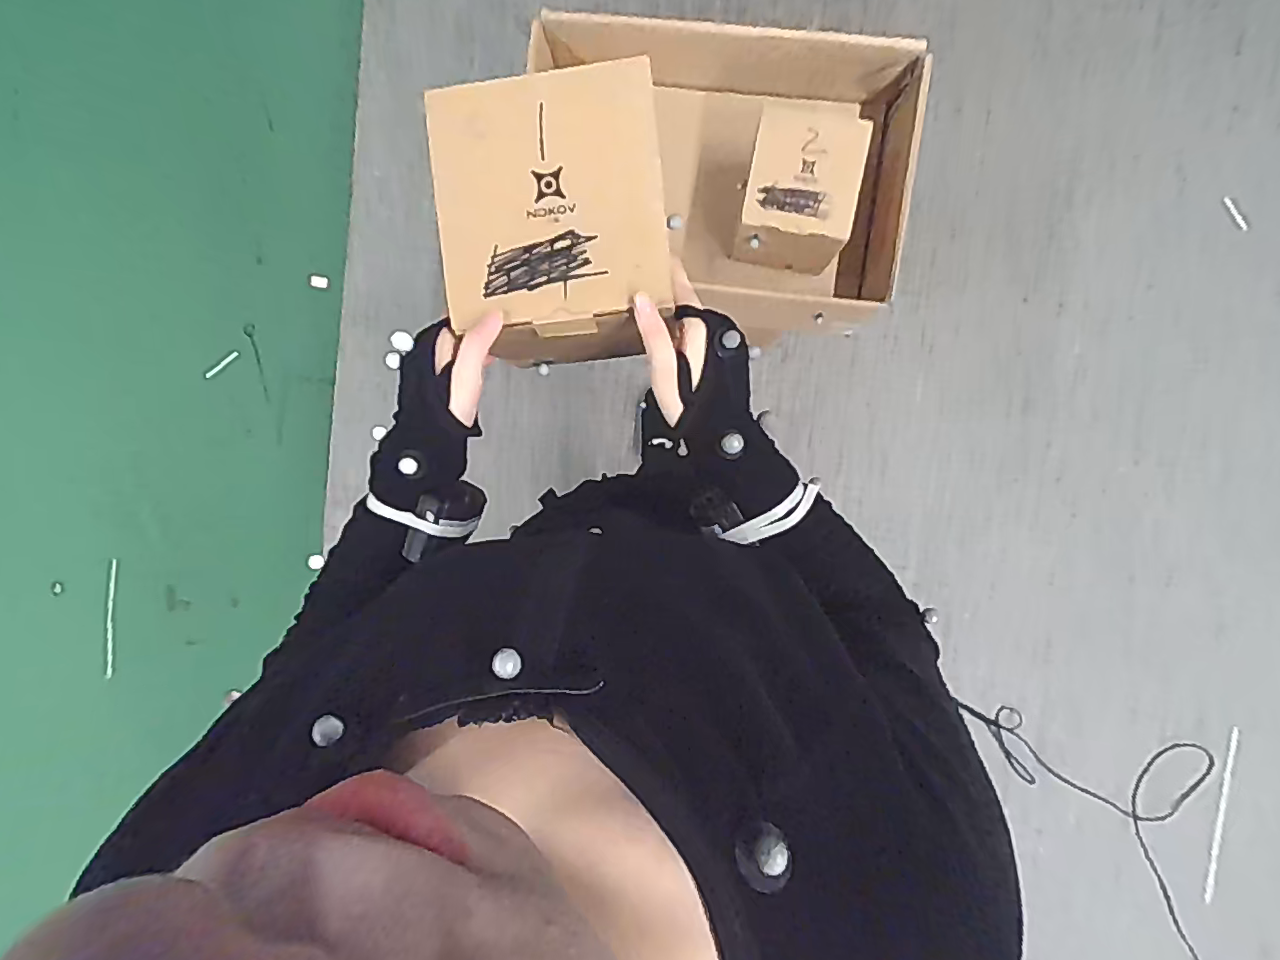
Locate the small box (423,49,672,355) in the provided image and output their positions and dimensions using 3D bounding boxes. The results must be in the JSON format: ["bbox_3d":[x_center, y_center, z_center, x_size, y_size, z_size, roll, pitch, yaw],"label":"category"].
[{"bbox_3d":[-0.062,-0.212,0.467,0.168,0.176,0.179,-6,91,5],"label":"small box"}]
